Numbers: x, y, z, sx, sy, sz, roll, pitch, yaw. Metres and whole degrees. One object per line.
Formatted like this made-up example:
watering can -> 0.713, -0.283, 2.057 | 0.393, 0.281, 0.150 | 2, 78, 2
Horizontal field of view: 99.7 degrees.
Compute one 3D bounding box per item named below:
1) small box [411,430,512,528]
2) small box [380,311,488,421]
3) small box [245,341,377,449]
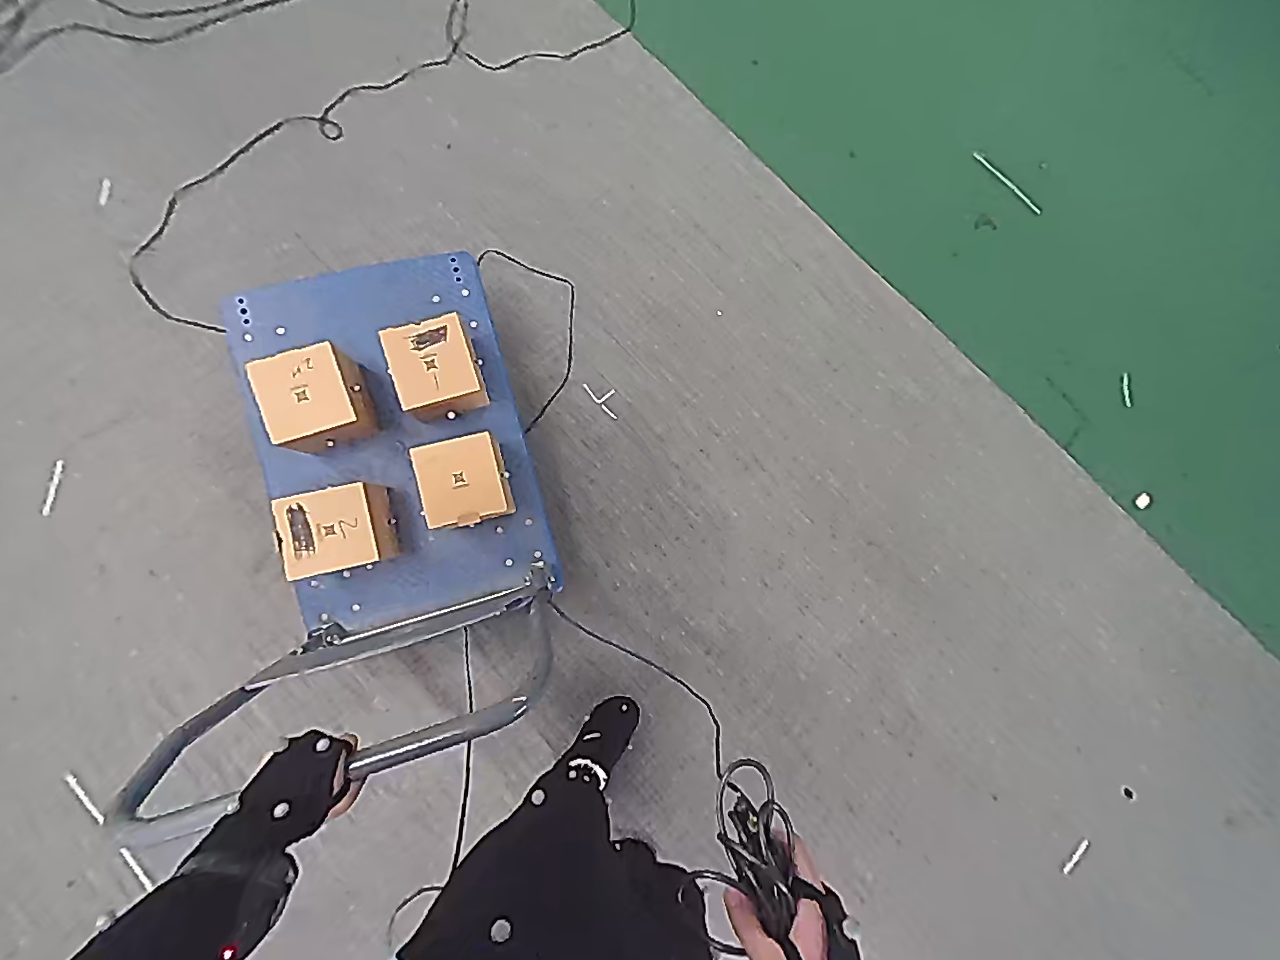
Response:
small box -> -0.385, 0.002, 1.194 | 0.168, 0.176, 0.179 | -14, 90, -9
small box -> -0.447, -0.246, 1.198 | 0.168, 0.176, 0.179 | -17, 90, -9
small box -> -0.689, -0.172, 1.155 | 0.168, 0.176, 0.179 | -19, 90, -10
